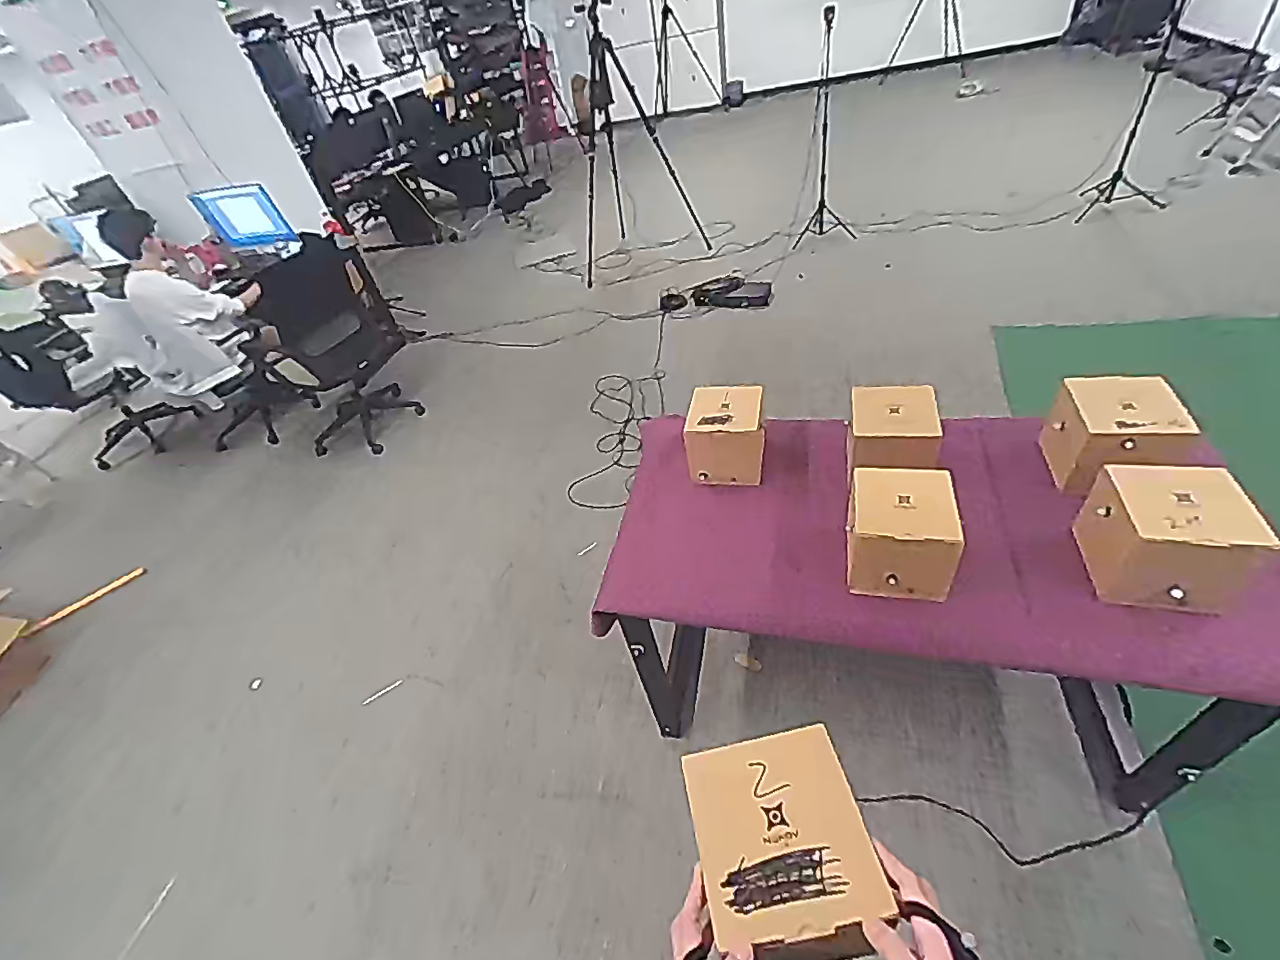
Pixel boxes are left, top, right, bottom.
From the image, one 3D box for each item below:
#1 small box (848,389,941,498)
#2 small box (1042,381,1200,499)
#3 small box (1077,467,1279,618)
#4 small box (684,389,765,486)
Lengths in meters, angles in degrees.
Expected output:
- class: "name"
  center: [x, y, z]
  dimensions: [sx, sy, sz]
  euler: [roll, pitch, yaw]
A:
- class: "small box"
  center: [0.551, -0.083, 1.193]
  dimensions: [0.168, 0.176, 0.179]
  euler: [2, 45, 19]
- class: "small box"
  center: [0.937, -0.078, 1.077]
  dimensions: [0.168, 0.176, 0.179]
  euler: [2, 44, 18]
- class: "small box"
  center: [0.867, 0.100, 0.898]
  dimensions: [0.168, 0.176, 0.179]
  euler: [3, 43, 20]
- class: "small box"
  center: [0.210, -0.101, 1.303]
  dimensions: [0.168, 0.176, 0.179]
  euler: [2, 44, 17]
